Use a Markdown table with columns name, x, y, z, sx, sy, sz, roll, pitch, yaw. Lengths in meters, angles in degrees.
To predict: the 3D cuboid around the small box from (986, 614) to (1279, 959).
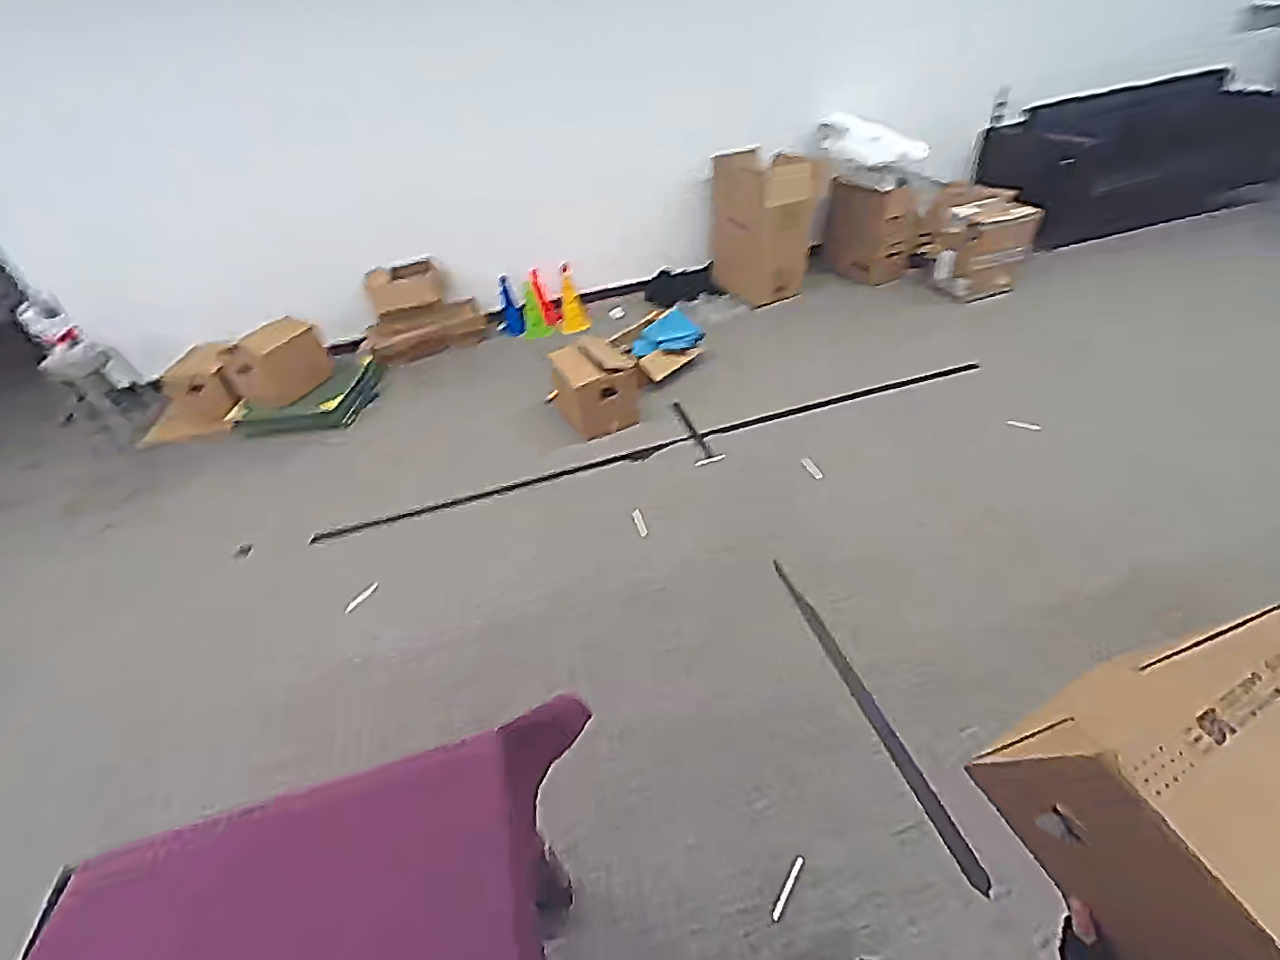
| name | x | y | z | sx | sy | sz | roll | pitch | yaw |
| --- | --- | --- | --- | --- | --- | --- | --- | --- | --- |
| small box | 0.362 | 0.206 | 0.333 | 0.168 | 0.179 | 0.176 | -29 | 62 | -10 |
